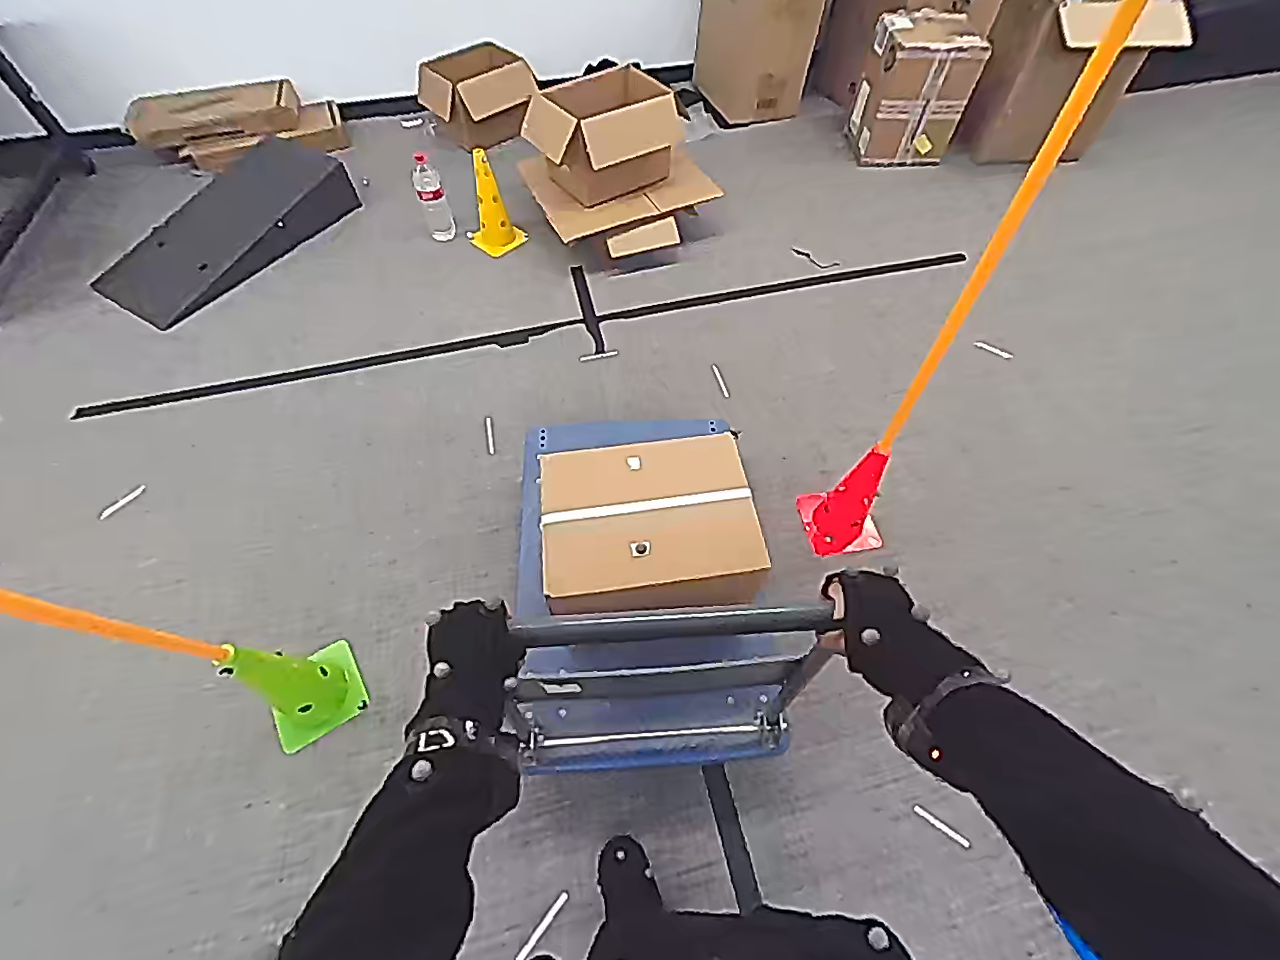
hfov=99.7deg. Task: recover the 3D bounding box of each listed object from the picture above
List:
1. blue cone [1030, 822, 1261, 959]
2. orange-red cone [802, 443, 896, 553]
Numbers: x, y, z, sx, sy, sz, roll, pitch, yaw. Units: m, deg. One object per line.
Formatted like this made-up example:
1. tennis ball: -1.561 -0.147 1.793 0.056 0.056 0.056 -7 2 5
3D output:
1. blue cone: 0.920 0.738 0.961 0.193 0.380 0.192 -15 57 -10
2. orange-red cone: 0.580 0.022 1.411 0.199 0.360 0.198 -6 58 -5
